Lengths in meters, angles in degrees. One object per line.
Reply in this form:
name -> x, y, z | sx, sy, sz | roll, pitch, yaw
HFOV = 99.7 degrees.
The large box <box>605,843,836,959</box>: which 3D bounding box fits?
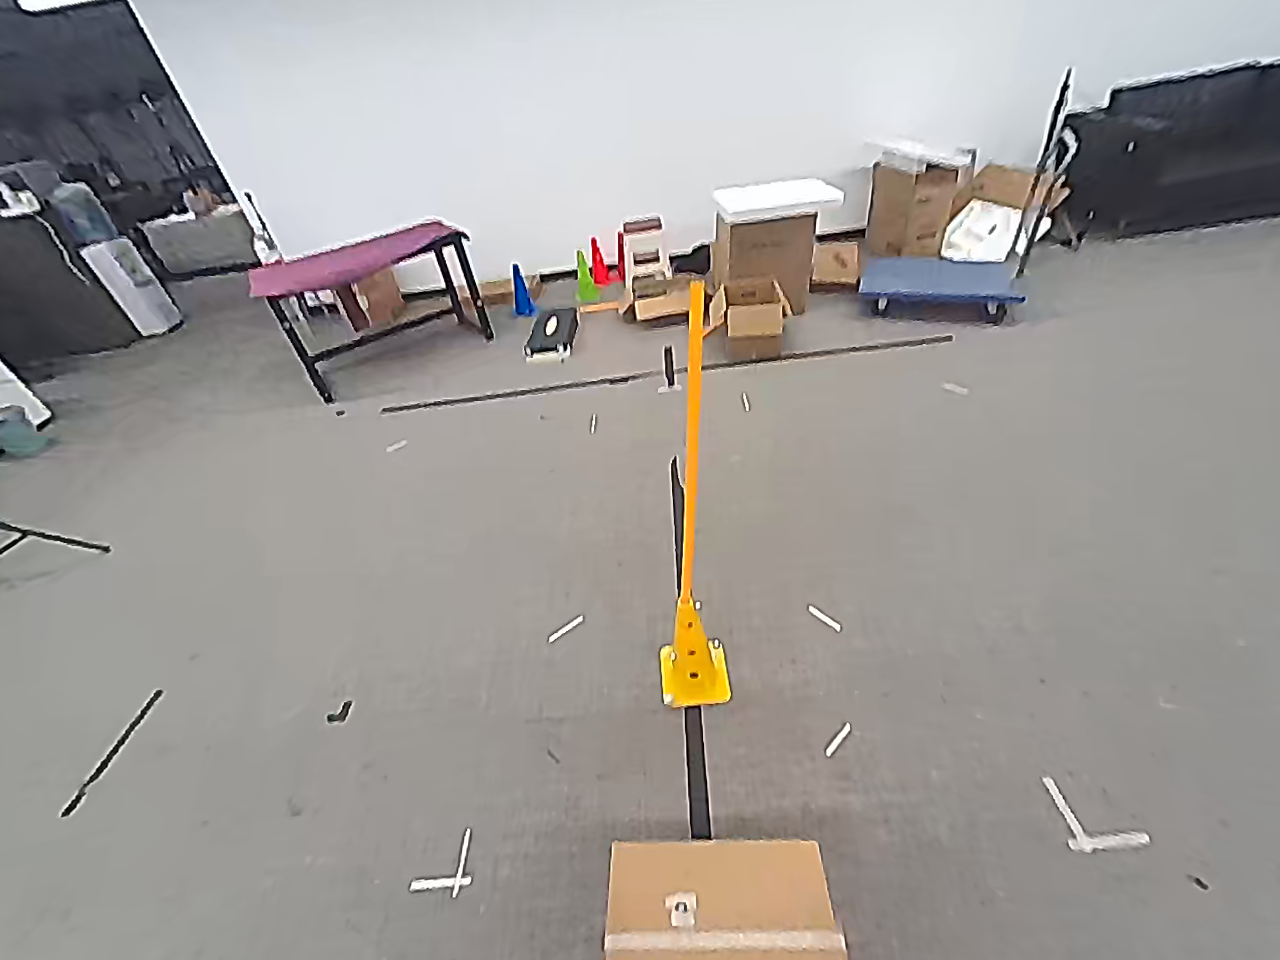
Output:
large box -> 0.155, 0.933, 1.029 | 0.408, 0.320, 0.320 | -5, 35, 5
